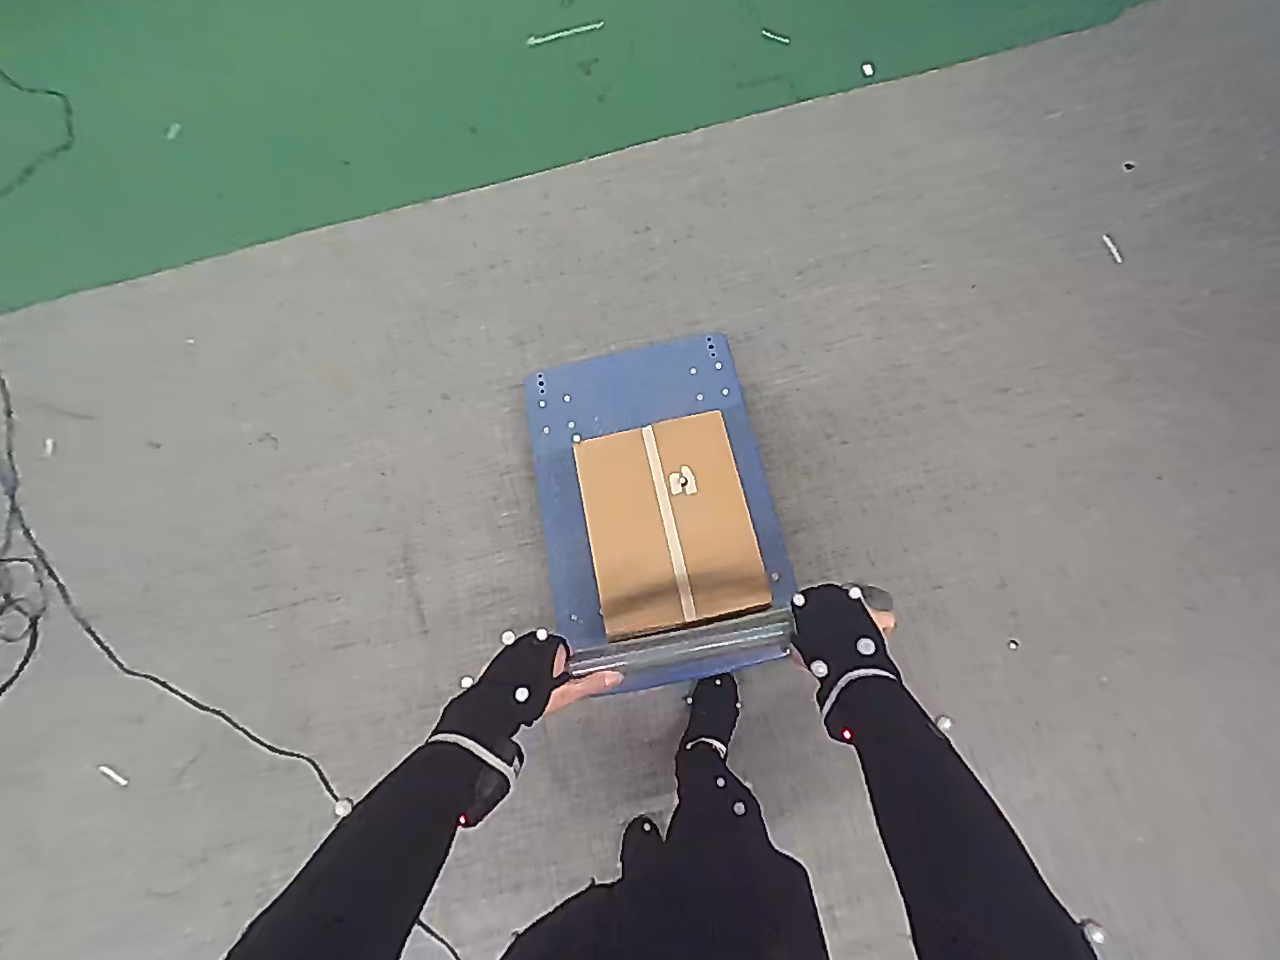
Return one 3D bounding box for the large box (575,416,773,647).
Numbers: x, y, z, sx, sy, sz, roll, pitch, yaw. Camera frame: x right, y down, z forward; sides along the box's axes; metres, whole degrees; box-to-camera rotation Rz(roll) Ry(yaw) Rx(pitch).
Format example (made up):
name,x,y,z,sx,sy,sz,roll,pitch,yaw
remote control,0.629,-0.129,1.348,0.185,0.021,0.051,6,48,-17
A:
name,x,y,z,sx,sy,sz,roll,pitch,yaw
large box,0.069,0.130,1.190,0.320,0.320,0.408,-12,71,0
